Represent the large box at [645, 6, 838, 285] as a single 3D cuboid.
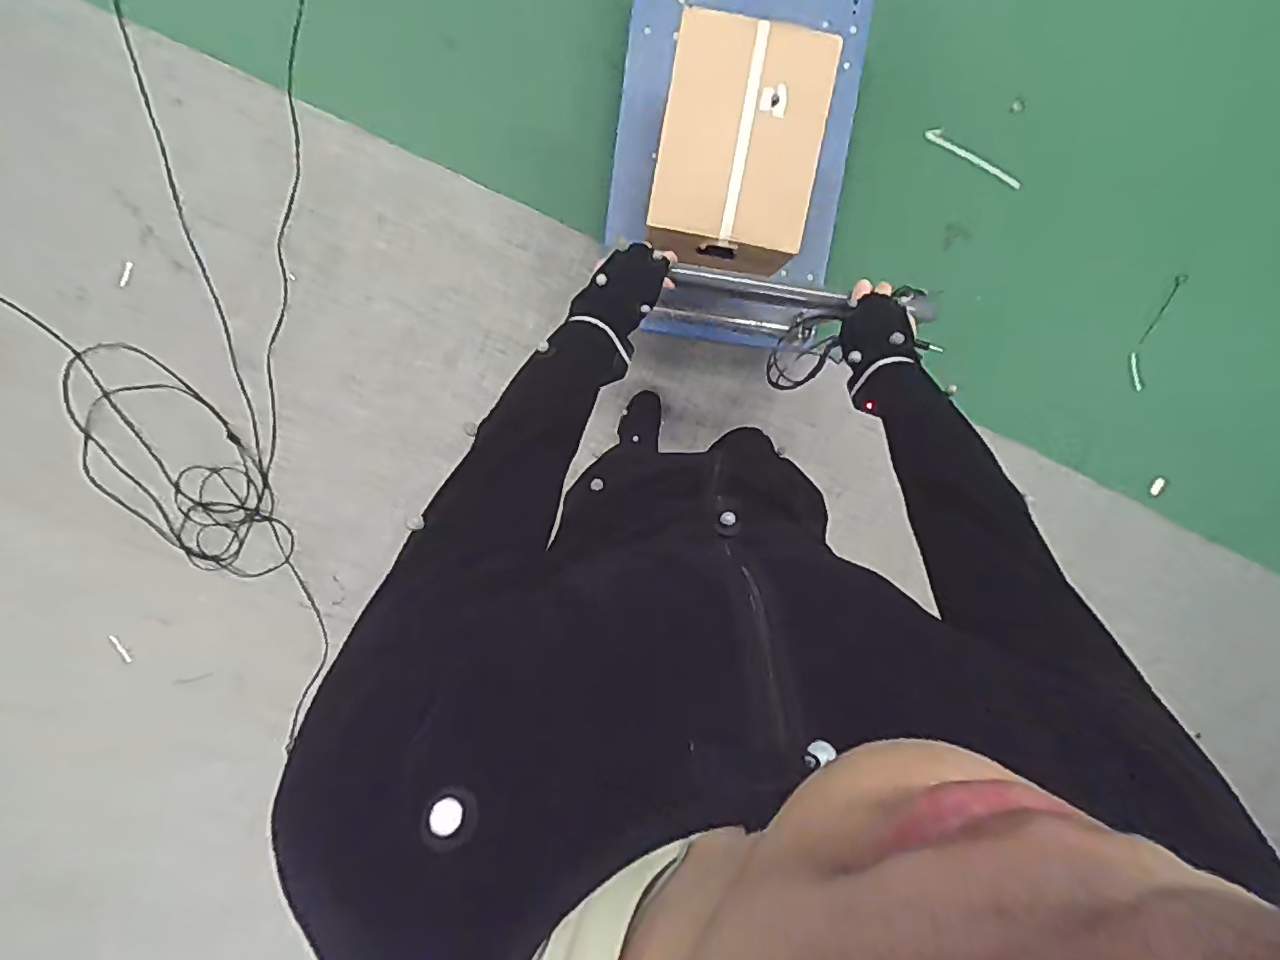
[{"bbox_3d":[0.191,-0.686,1.186,0.320,0.320,0.408,10,97,-3],"label":"large box"}]
